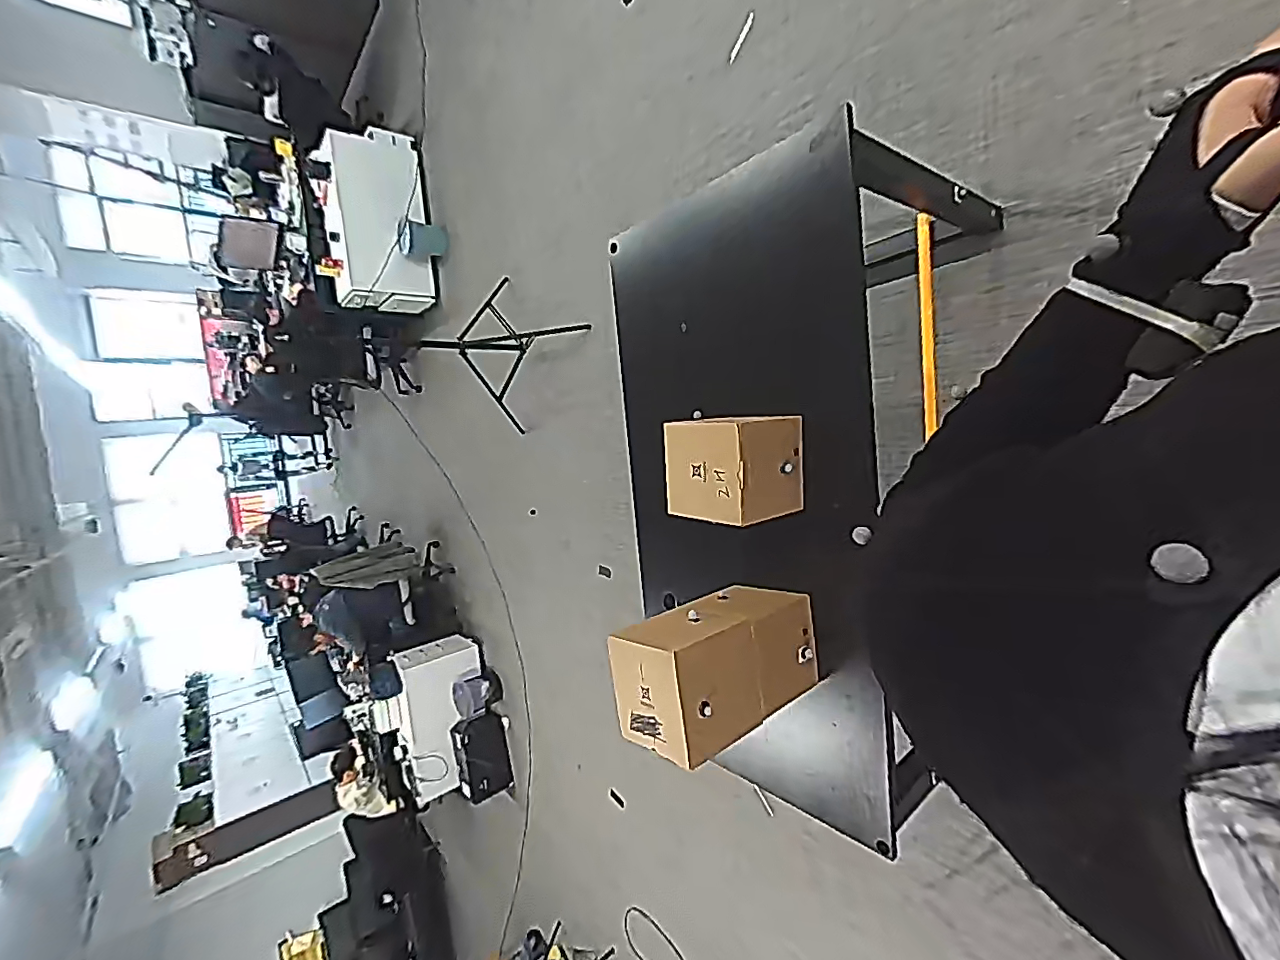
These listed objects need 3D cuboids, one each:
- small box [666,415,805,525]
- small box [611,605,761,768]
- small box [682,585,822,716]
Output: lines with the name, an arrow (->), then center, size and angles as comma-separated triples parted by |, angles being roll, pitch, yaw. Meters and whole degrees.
small box -> 0.167, -0.026, 0.952 | 0.179, 0.176, 0.168 | 7, 103, 50
small box -> 0.077, 0.319, 0.876 | 0.168, 0.176, 0.179 | -6, 93, 52
small box -> 0.202, 0.295, 0.981 | 0.179, 0.176, 0.168 | -6, 94, 50
